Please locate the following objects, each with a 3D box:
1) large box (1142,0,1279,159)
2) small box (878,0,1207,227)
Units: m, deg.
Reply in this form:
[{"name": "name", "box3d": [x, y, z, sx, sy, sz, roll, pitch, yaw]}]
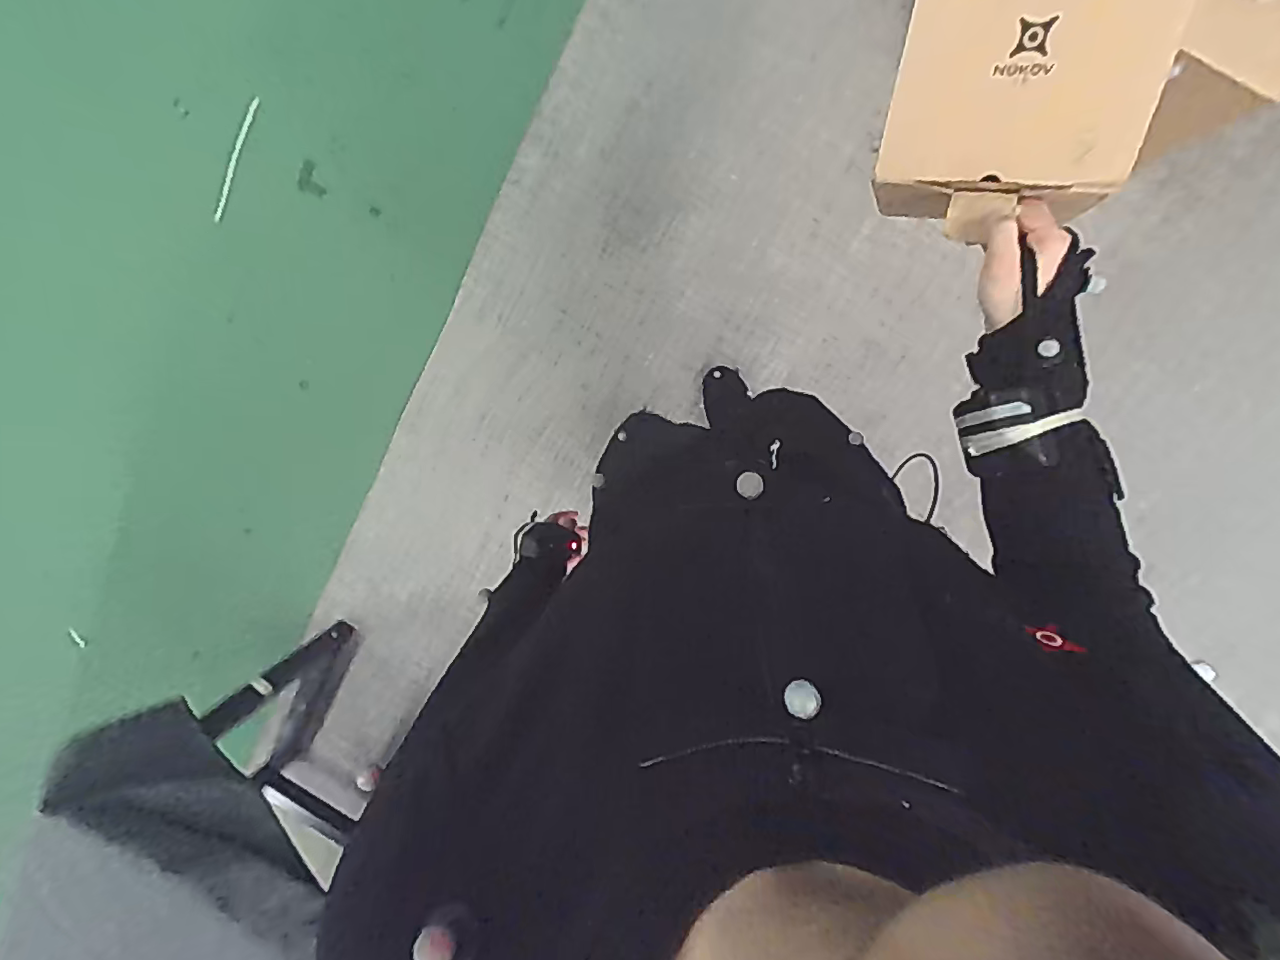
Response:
[{"name": "large box", "box3d": [0.861, -0.821, 0.916, 0.408, 0.320, 0.320, 29, 105, 0]}, {"name": "small box", "box3d": [0.306, -0.314, 0.437, 0.168, 0.176, 0.179, 16, 110, 21]}]
